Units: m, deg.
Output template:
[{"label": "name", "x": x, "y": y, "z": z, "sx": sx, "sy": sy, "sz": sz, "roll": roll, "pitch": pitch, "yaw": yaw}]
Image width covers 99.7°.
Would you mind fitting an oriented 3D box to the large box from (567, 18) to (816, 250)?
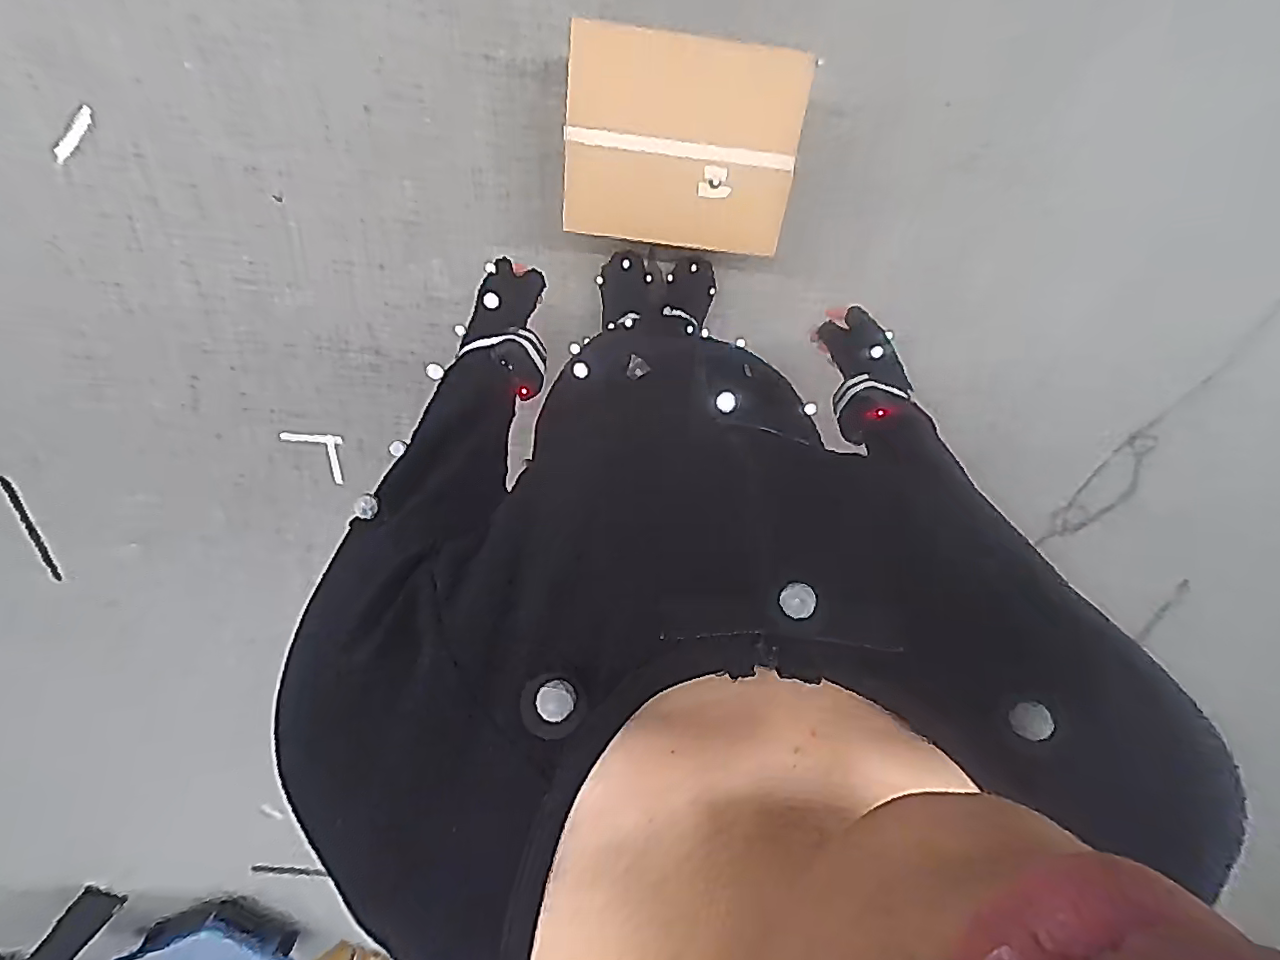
[{"label": "large box", "x": 0.072, "y": -0.653, "z": 1.068, "sx": 0.408, "sy": 0.320, "sz": 0.320, "roll": 5, "pitch": 120, "yaw": -4}]
